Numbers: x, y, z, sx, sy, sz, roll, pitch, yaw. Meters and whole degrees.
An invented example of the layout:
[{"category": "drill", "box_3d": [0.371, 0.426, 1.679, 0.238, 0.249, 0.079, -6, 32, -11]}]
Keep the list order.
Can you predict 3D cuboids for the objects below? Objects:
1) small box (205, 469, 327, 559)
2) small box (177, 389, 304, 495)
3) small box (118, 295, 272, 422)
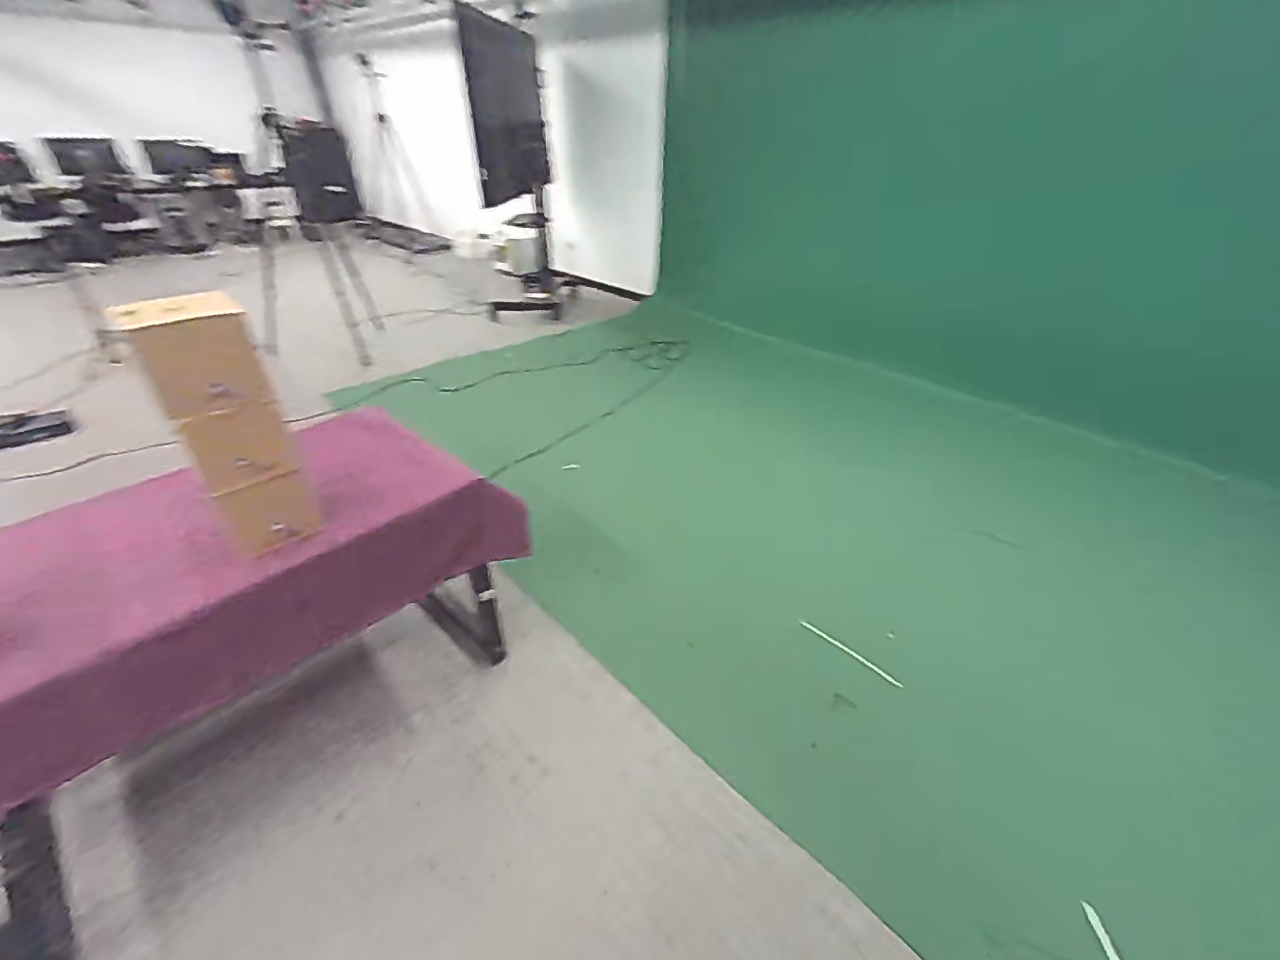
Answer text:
[{"category": "small box", "box_3d": [-0.823, 0.043, 1.189, 0.168, 0.176, 0.179, -28, 44, -35]}, {"category": "small box", "box_3d": [-0.820, -0.094, 1.100, 0.168, 0.176, 0.179, -28, 44, -36]}, {"category": "small box", "box_3d": [-0.817, -0.229, 1.007, 0.179, 0.176, 0.168, -25, 42, -35]}]
